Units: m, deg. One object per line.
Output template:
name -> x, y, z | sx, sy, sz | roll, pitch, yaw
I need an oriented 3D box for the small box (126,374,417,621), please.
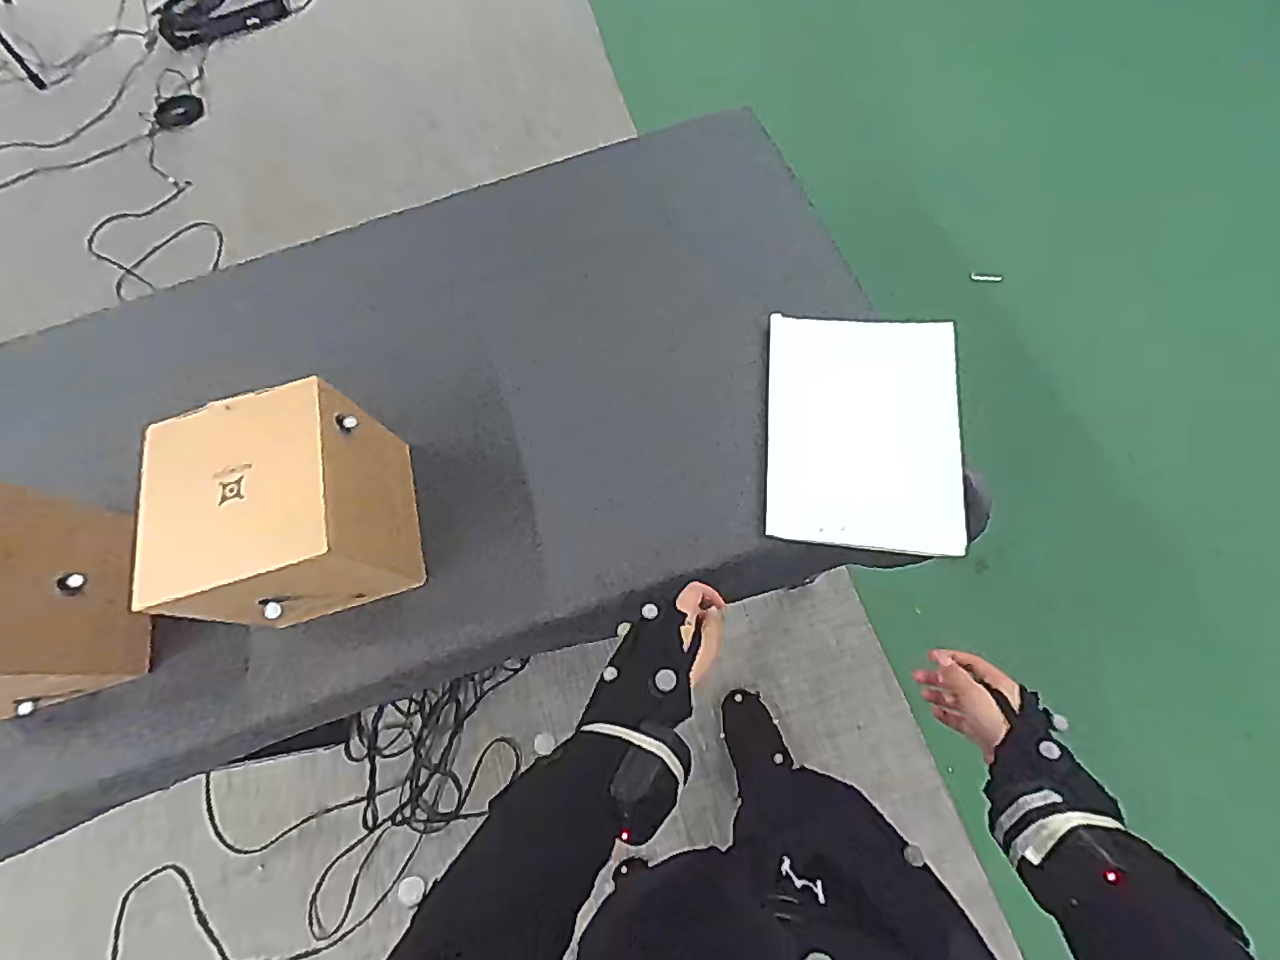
small box -> -0.338, 0.031, 0.527 | 0.168, 0.176, 0.179 | -17, 68, 0
